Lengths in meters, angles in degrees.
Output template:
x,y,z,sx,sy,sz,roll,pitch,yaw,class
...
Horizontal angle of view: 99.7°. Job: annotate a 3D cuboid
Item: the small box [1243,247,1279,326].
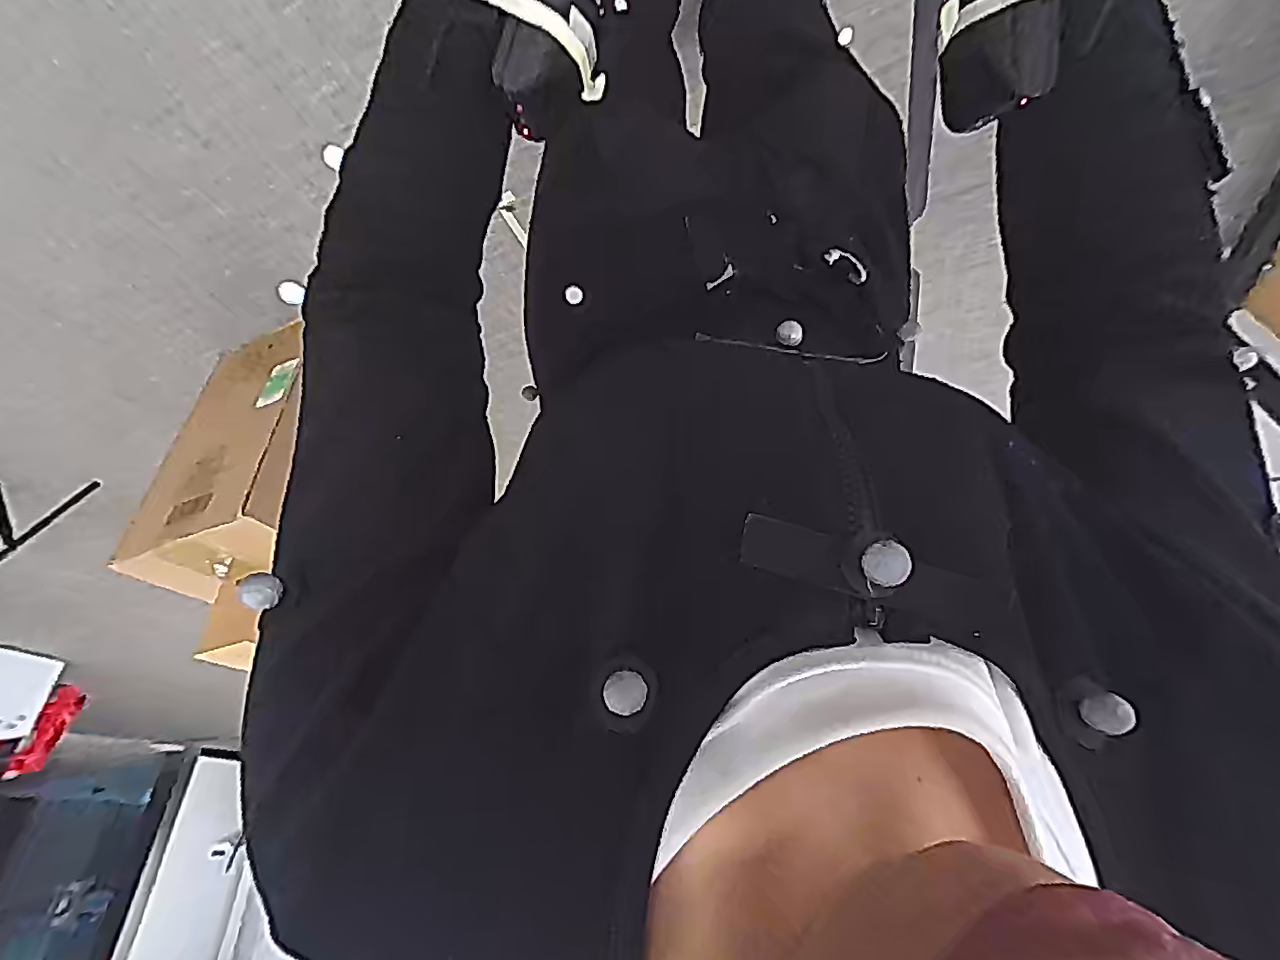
x,y,z,sx,sy,sz,roll,pitch,yaw,class
1.568,-0.461,1.235,0.179,0.176,0.168,-15,144,14,small box
